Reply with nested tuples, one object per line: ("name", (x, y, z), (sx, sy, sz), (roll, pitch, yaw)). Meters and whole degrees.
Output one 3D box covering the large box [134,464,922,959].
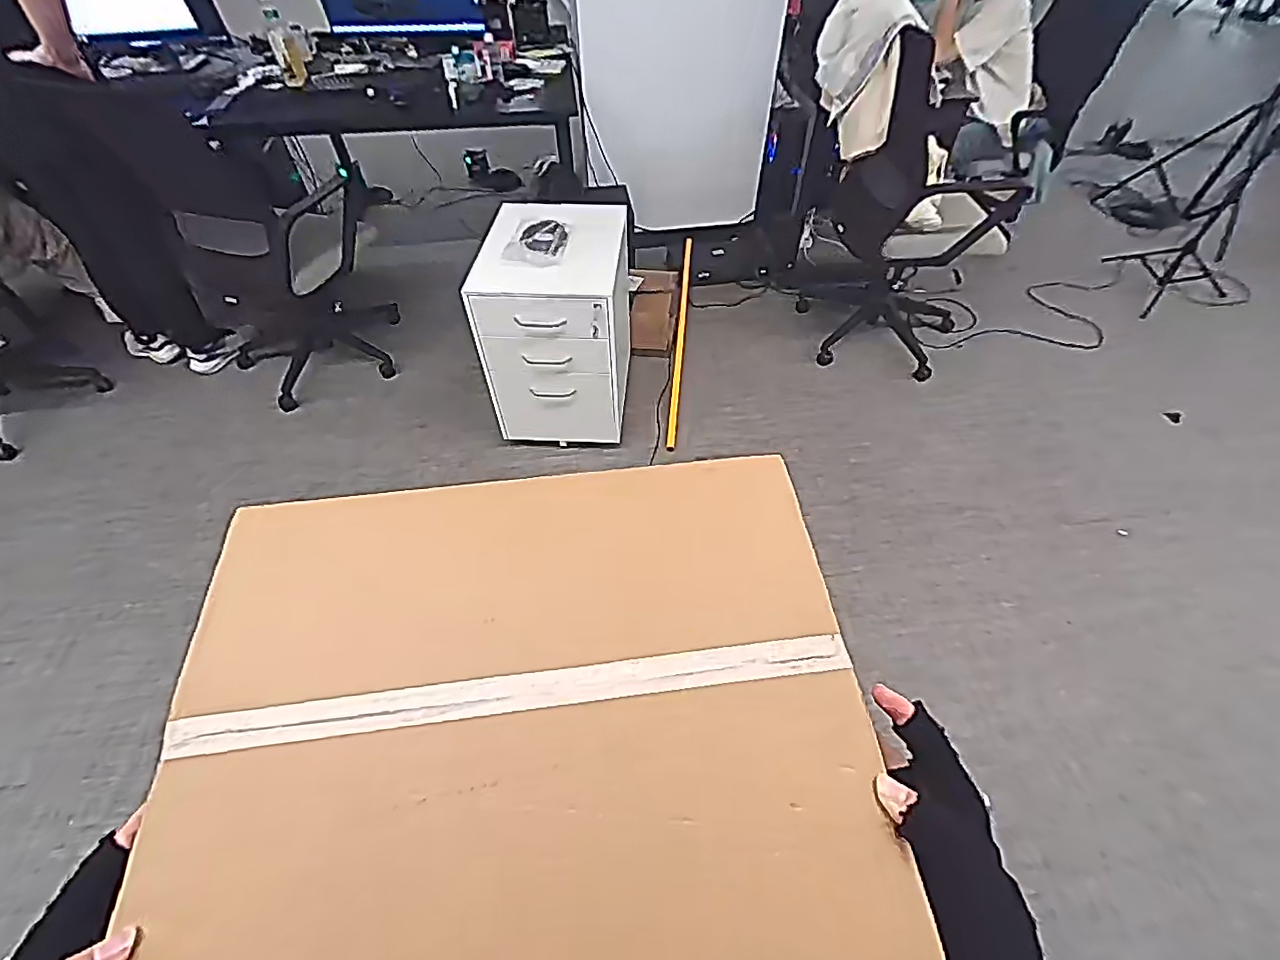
("large box", (-0.071, 0.217, 0.464), (0.408, 0.320, 0.320), (-6, 58, -4))
